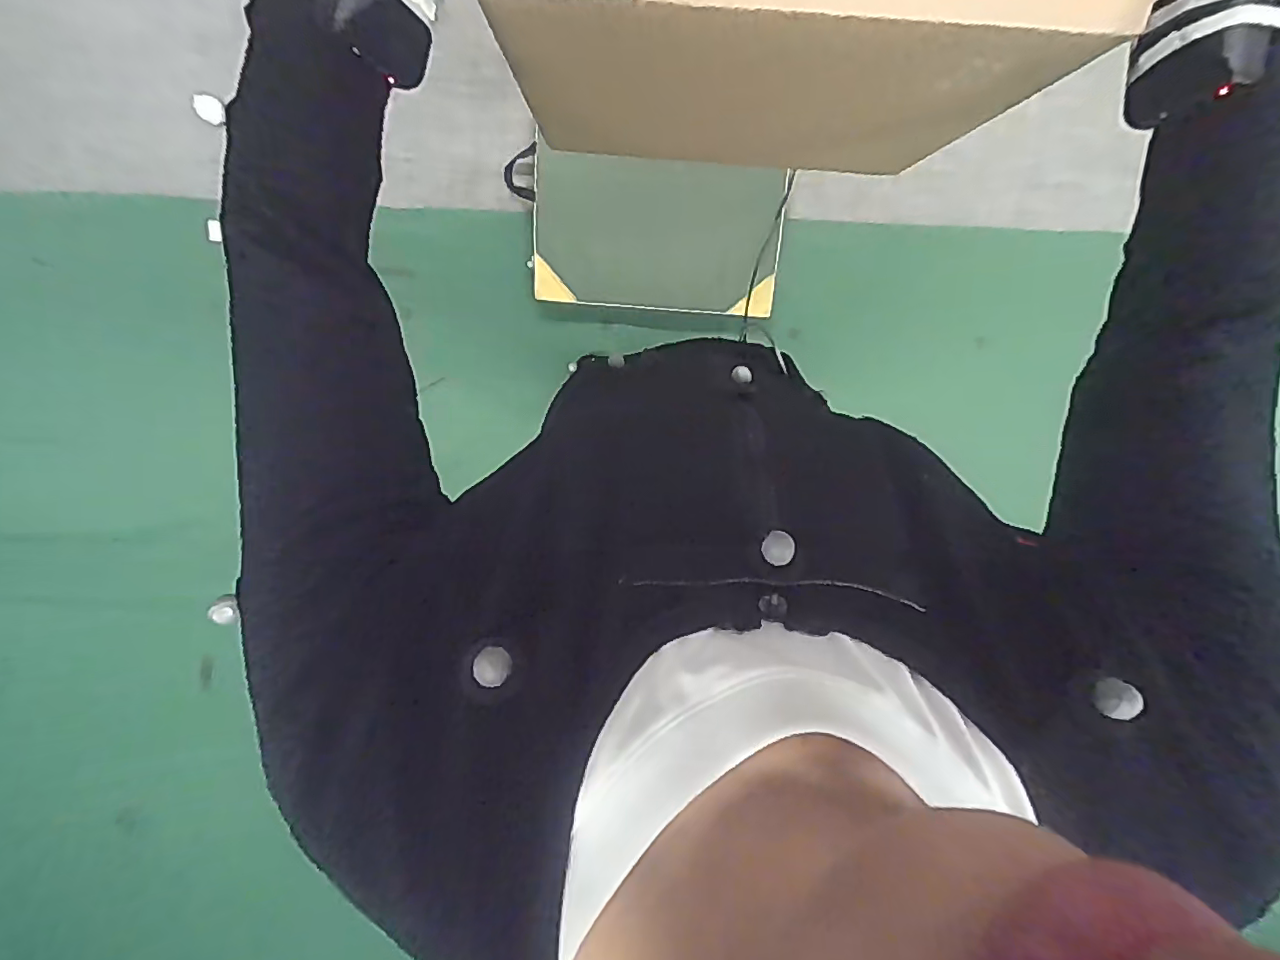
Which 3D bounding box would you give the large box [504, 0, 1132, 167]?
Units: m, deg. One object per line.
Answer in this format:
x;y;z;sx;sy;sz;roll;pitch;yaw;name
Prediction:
0.109;-0.473;0.438;0.408;0.320;0.320;2;106;-3;large box
